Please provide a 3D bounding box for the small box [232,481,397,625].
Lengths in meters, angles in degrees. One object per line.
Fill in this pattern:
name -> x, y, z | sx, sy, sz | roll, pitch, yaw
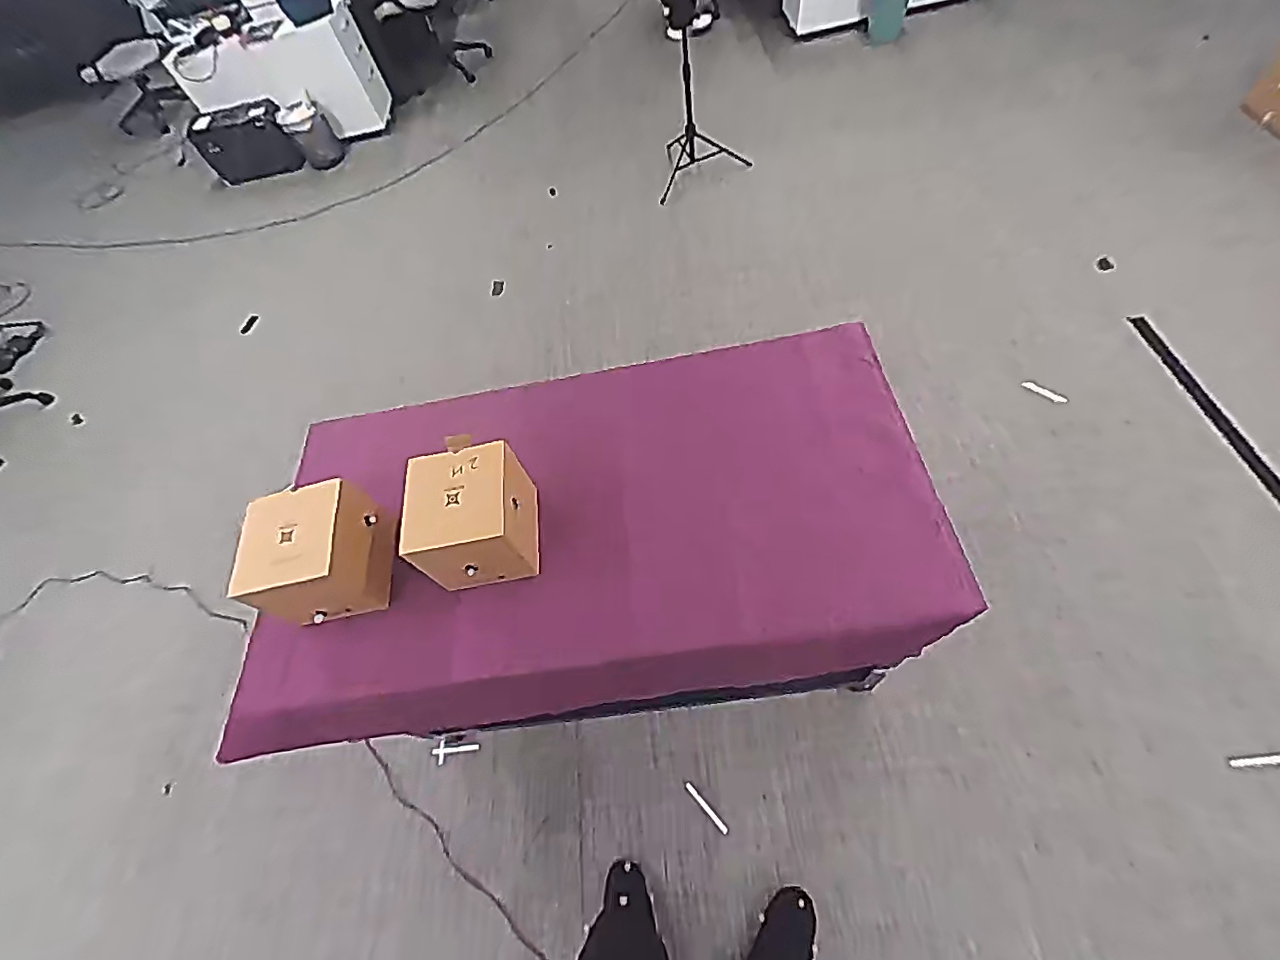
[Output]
small box -> -0.542, 0.130, 0.930 | 0.168, 0.176, 0.179 | -12, 58, 3

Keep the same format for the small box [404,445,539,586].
small box -> -0.274, 0.069, 0.919 | 0.168, 0.176, 0.179 | -10, 58, 4
